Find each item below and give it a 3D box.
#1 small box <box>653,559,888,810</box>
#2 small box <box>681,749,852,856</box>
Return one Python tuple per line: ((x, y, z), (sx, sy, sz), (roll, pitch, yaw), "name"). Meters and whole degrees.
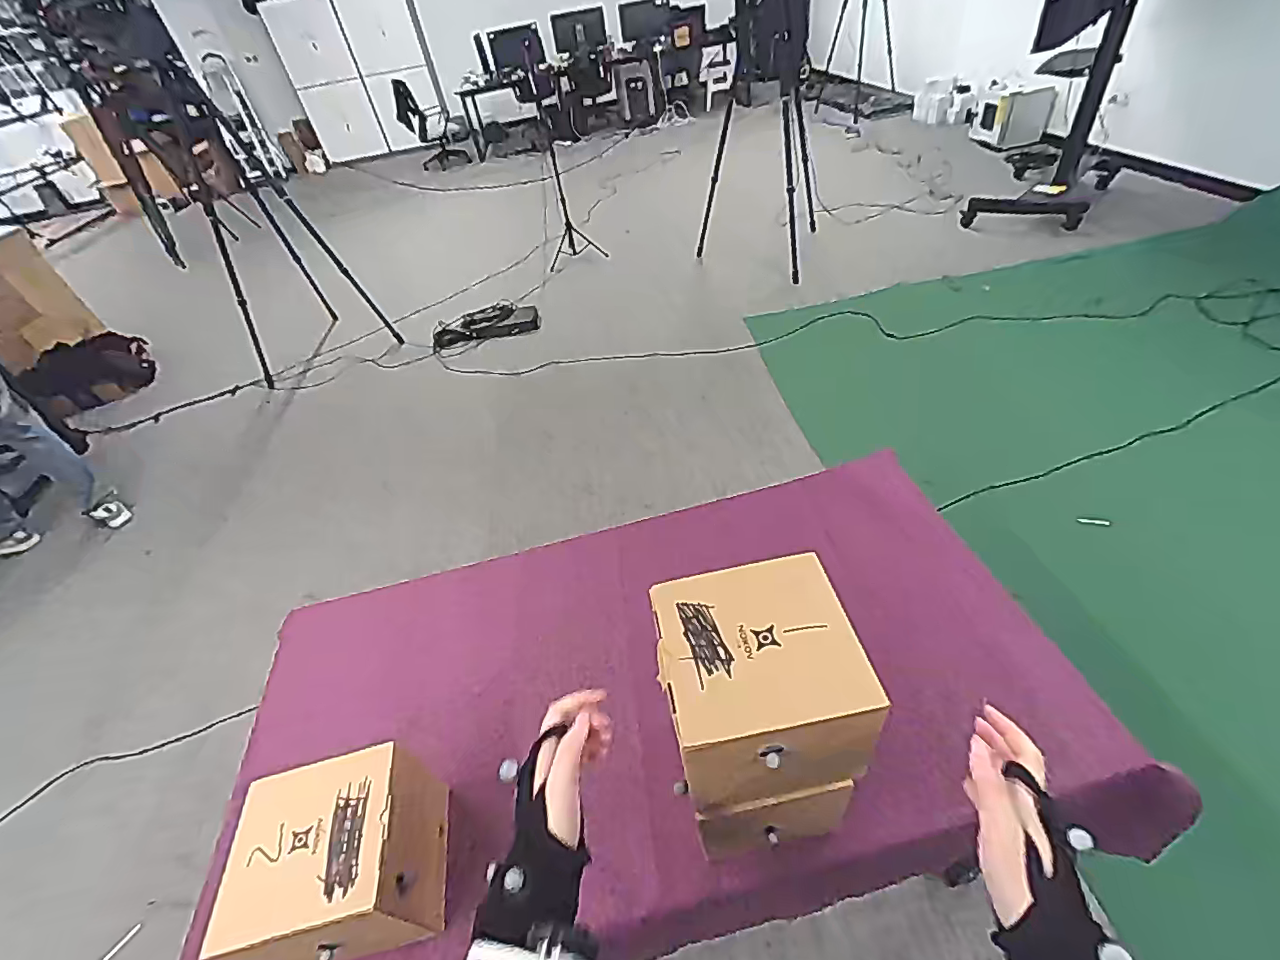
((0.120, 0.210, 0.549), (0.179, 0.176, 0.168), (-11, 43, -1), "small box")
((0.137, 0.332, 0.659), (0.168, 0.176, 0.179), (-12, 42, -1), "small box")
